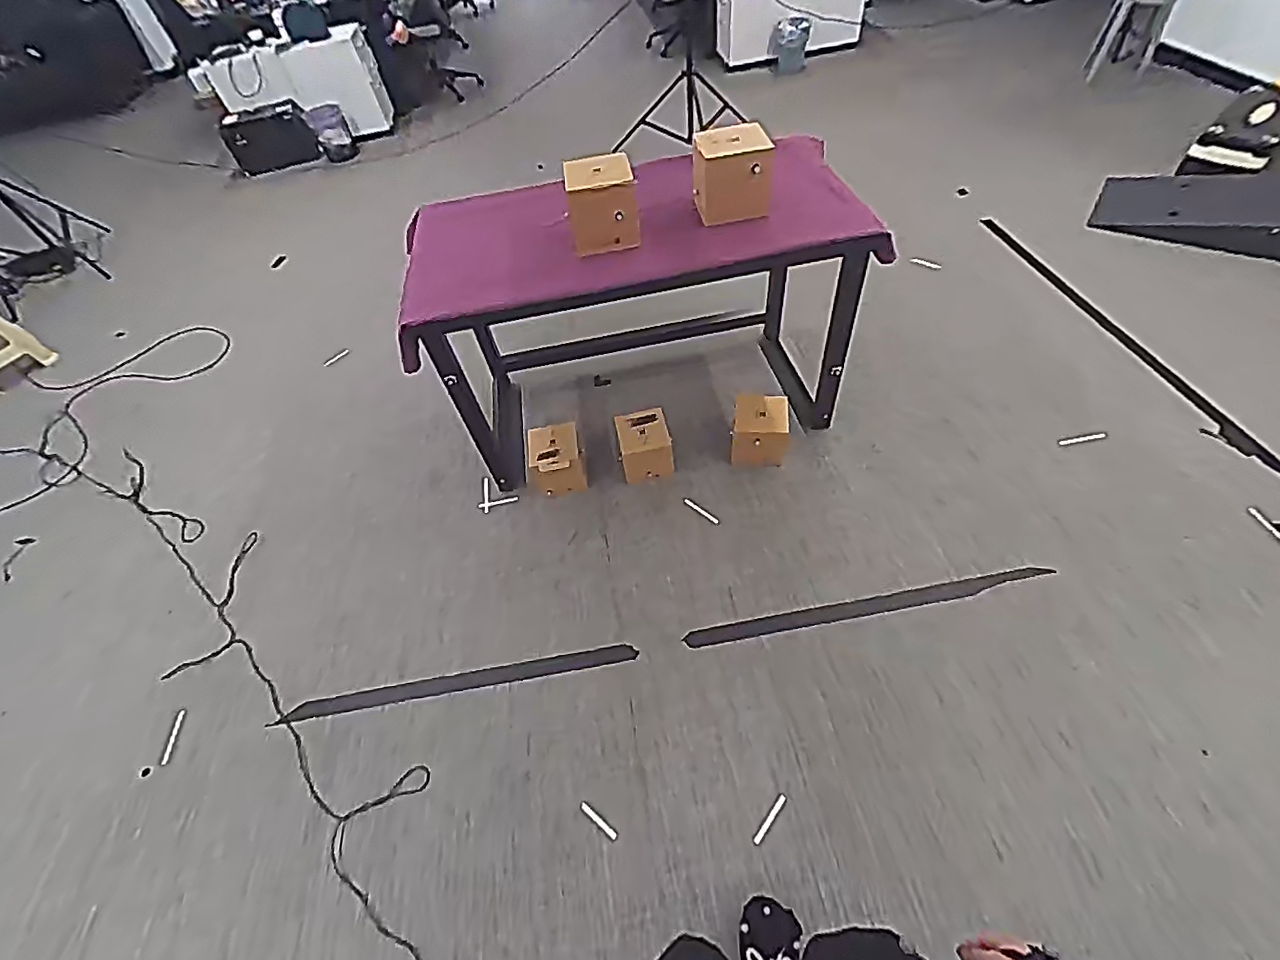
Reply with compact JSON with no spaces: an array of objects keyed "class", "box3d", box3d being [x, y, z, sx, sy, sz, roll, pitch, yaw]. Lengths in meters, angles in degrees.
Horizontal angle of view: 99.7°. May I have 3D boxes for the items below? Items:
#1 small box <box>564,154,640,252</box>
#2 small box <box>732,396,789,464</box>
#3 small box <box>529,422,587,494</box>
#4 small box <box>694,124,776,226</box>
[{"class":"small box","box3d":[-0.095,-0.703,1.388,0.168,0.176,0.179,-9,50,-1]},{"class":"small box","box3d":[0.405,-0.166,1.834,0.179,0.176,0.168,2,54,10]},{"class":"small box","box3d":[-0.279,-0.069,1.850,0.168,0.176,0.179,-10,51,0]},{"class":"small box","box3d":[0.241,-0.792,1.409,0.179,0.176,0.168,-10,51,1]}]
